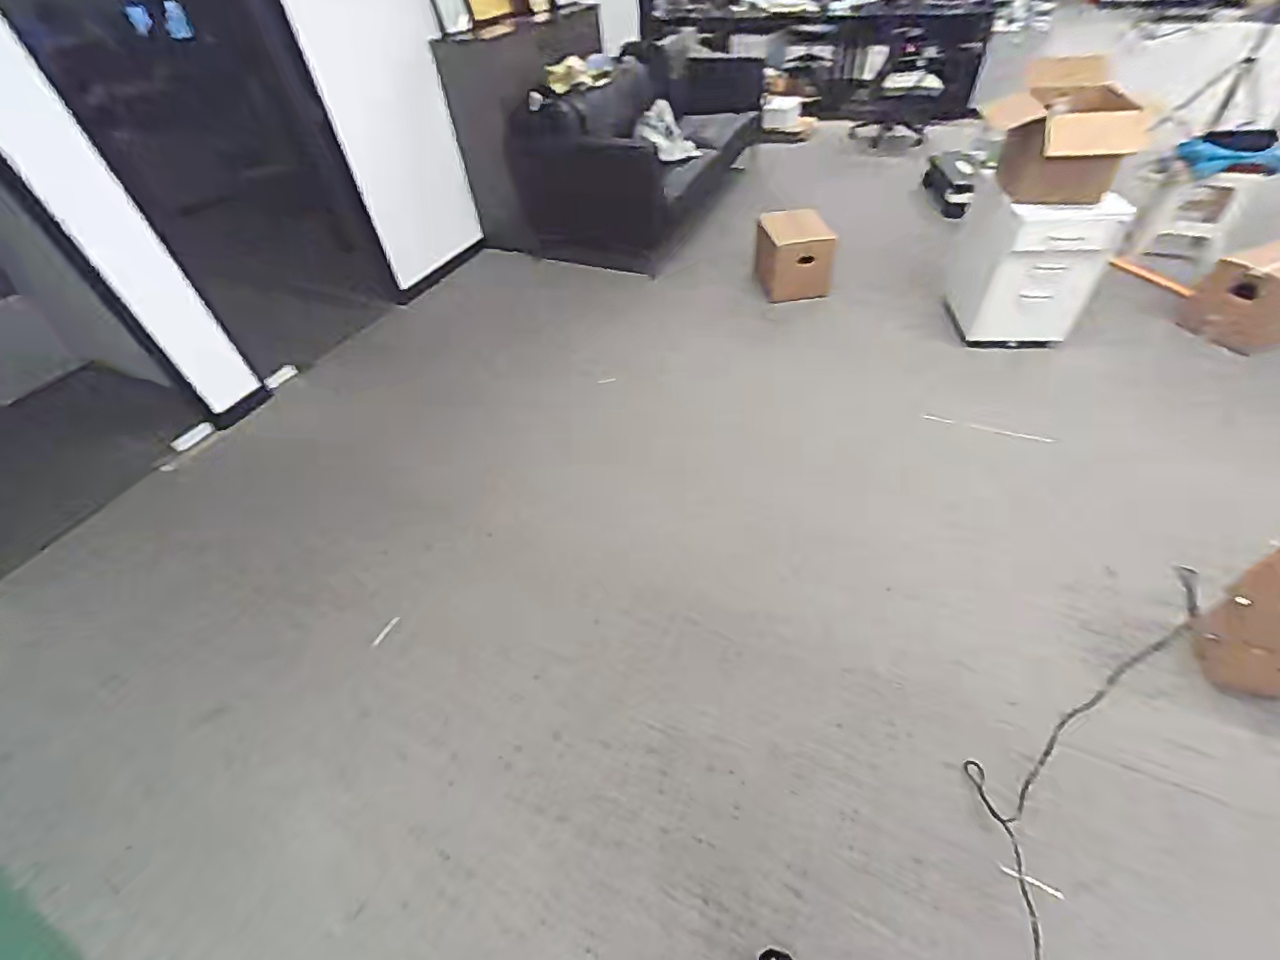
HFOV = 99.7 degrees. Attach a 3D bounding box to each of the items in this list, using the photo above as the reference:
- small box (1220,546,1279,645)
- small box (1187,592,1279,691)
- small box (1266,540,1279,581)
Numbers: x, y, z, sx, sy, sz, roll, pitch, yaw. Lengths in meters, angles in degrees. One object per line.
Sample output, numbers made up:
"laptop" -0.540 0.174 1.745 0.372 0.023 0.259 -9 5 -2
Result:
"small box" 1.556 0.288 1.277 0.179 0.176 0.168 12 48 18
"small box" 1.565 0.415 1.382 0.179 0.176 0.168 10 48 15
"small box" 1.537 0.178 1.159 0.179 0.176 0.168 11 48 18
